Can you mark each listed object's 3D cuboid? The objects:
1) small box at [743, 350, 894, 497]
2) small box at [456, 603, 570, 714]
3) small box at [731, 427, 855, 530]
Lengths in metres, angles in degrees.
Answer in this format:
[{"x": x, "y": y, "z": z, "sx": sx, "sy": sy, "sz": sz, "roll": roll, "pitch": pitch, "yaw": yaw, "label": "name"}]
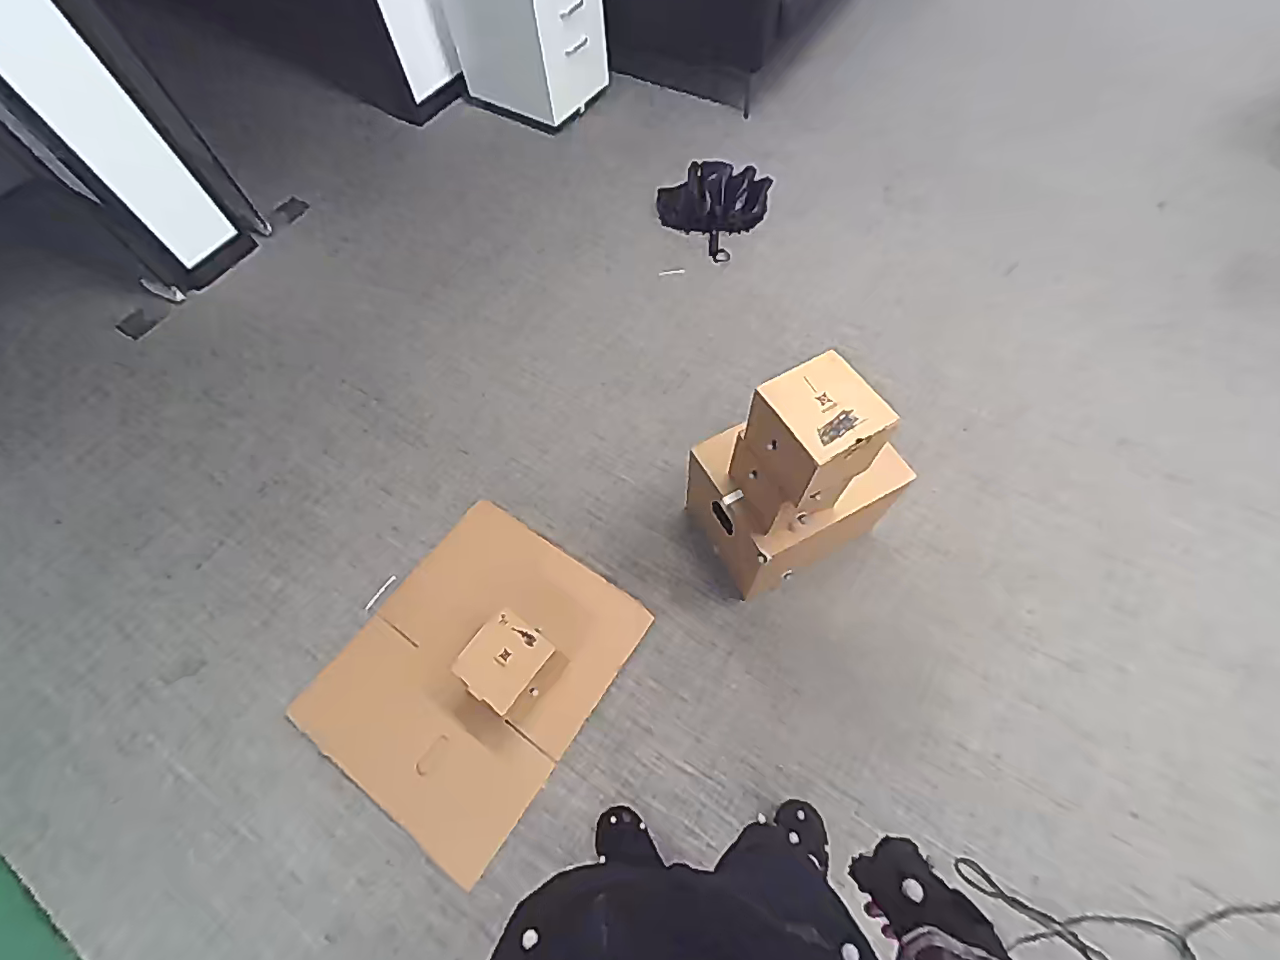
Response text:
[{"x": 0.305, "y": -0.089, "z": 0.967, "sx": 0.168, "sy": 0.176, "sz": 0.179, "roll": -31, "pitch": 67, "yaw": -11, "label": "small box"}, {"x": -0.283, "y": 0.419, "z": 1.252, "sx": 0.168, "sy": 0.176, "sz": 0.179, "roll": 29, "pitch": 69, "yaw": 19, "label": "small box"}, {"x": 0.303, "y": -0.024, "z": 1.118, "sx": 0.168, "sy": 0.176, "sz": 0.179, "roll": -24, "pitch": 66, "yaw": -8, "label": "small box"}]
